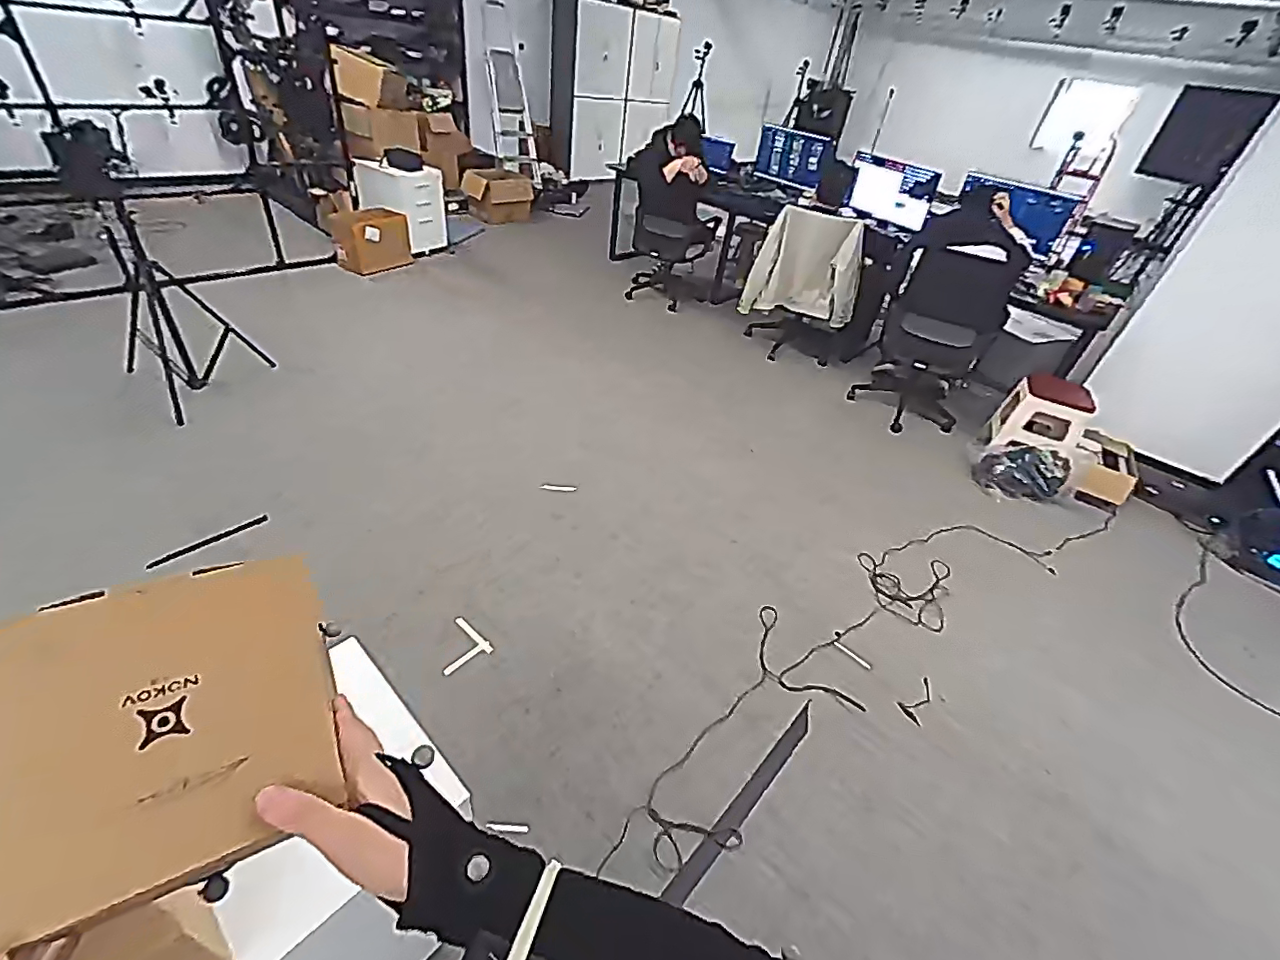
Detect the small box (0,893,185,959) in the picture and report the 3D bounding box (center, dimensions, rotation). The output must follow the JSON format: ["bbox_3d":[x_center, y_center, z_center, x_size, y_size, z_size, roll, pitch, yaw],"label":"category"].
[{"bbox_3d":[-0.578,0.401,0.509,0.179,0.176,0.168,33,44,28],"label":"small box"}]

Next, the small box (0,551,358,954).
[{"bbox_3d":[-0.307,0.177,0.379,0.168,0.176,0.179,-13,67,-30],"label":"small box"}]

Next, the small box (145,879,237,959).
[{"bbox_3d":[-0.600,0.527,0.611,0.179,0.176,0.168,34,44,29],"label":"small box"}]
